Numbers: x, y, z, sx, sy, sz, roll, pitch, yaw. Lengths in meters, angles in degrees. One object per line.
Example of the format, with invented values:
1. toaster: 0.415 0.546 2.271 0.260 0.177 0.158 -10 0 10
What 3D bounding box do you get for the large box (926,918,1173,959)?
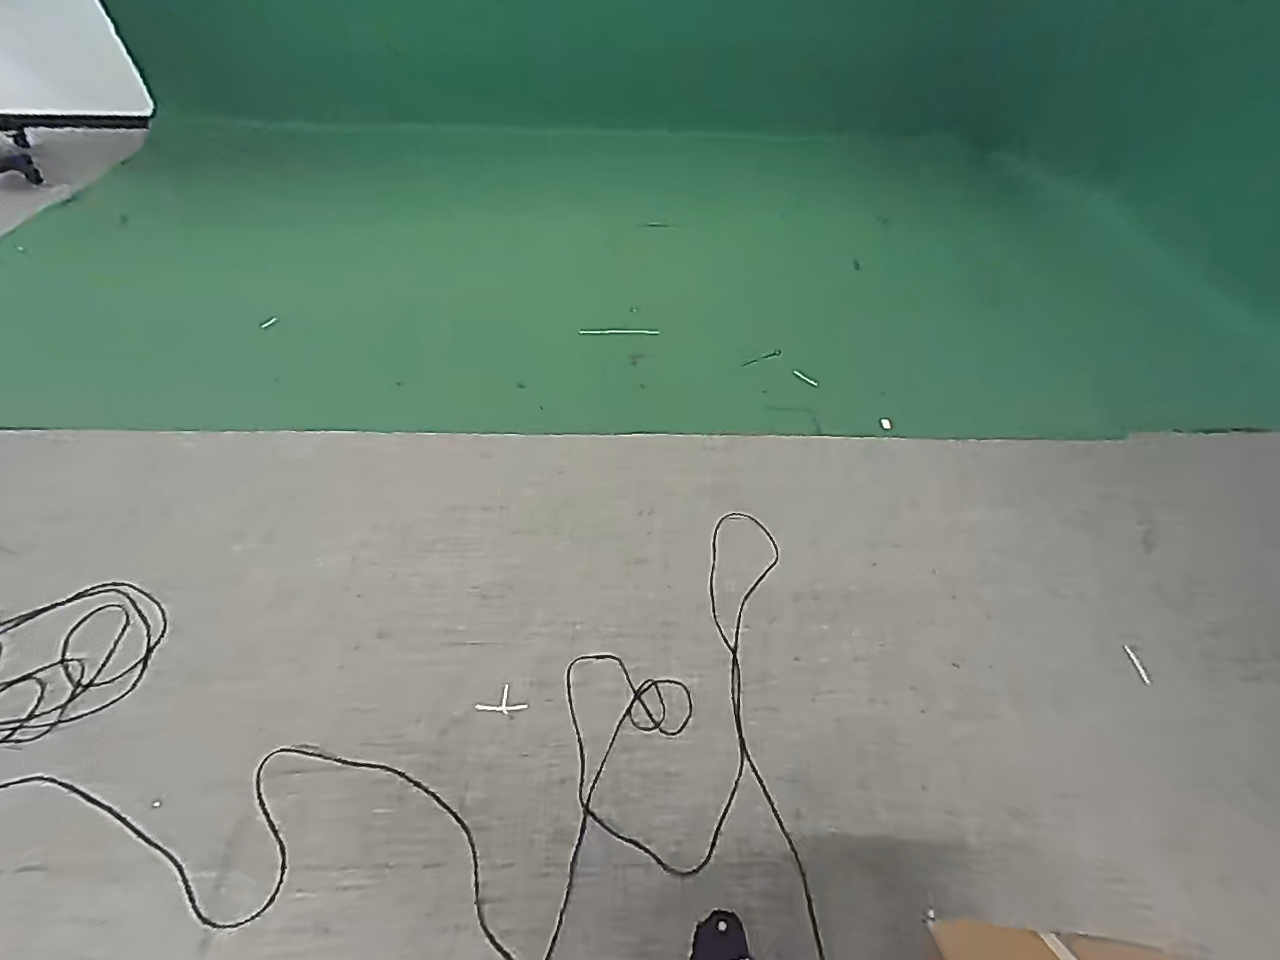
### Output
1. large box: 0.543 0.768 0.560 0.320 0.408 0.320 2 83 7
